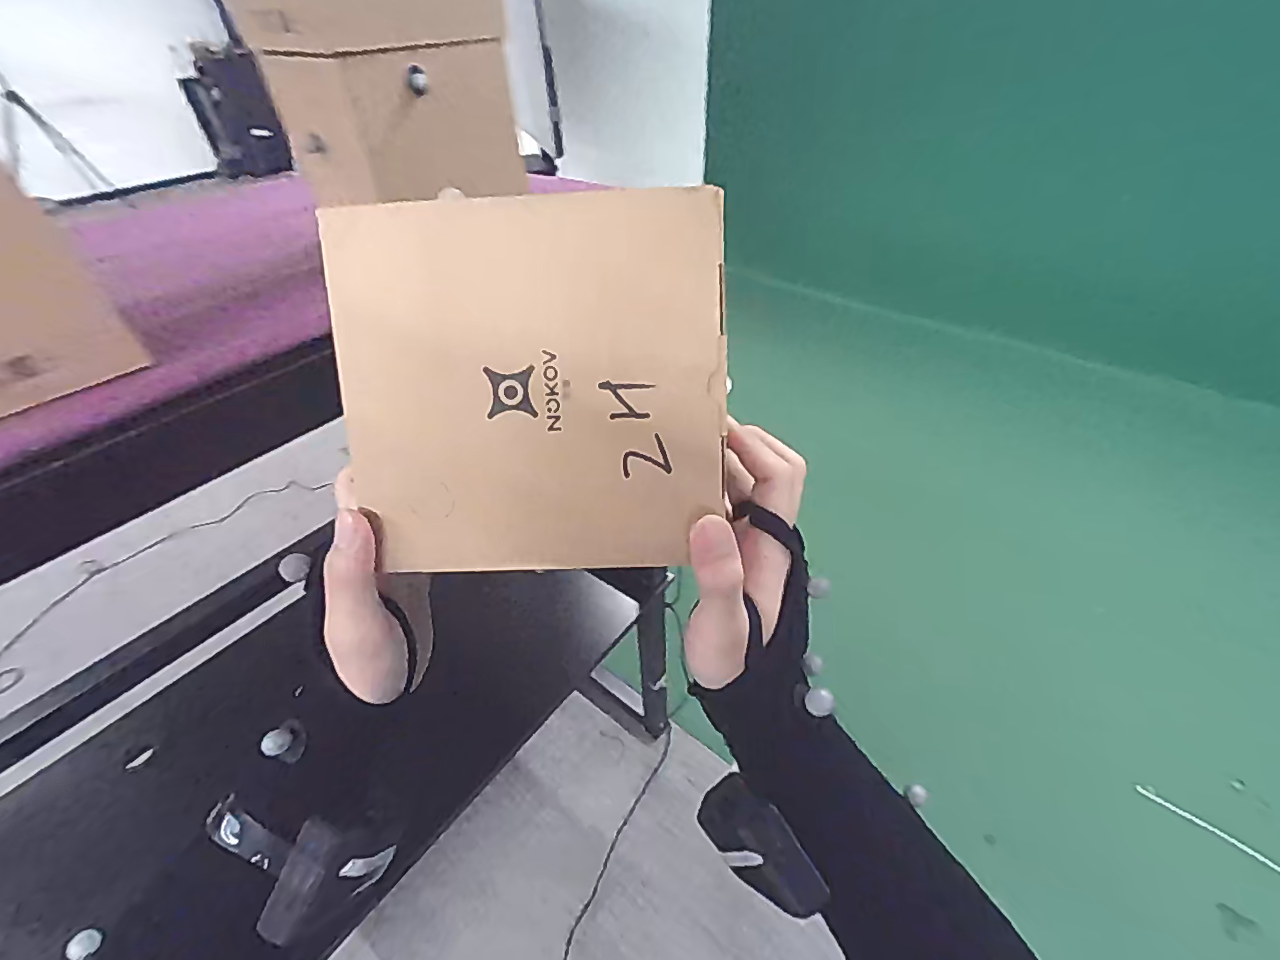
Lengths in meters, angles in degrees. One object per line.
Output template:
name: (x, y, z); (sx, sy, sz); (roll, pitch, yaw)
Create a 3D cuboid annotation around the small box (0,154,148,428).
small box: (-0.475, -0.132, 0.344); (0.179, 0.176, 0.168); (29, 51, 32)

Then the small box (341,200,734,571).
small box: (-0.040, -0.050, 0.325); (0.179, 0.168, 0.176); (-1, 10, 3)

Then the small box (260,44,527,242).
small box: (-0.241, -0.338, 0.562); (0.179, 0.176, 0.168); (30, 52, 32)
